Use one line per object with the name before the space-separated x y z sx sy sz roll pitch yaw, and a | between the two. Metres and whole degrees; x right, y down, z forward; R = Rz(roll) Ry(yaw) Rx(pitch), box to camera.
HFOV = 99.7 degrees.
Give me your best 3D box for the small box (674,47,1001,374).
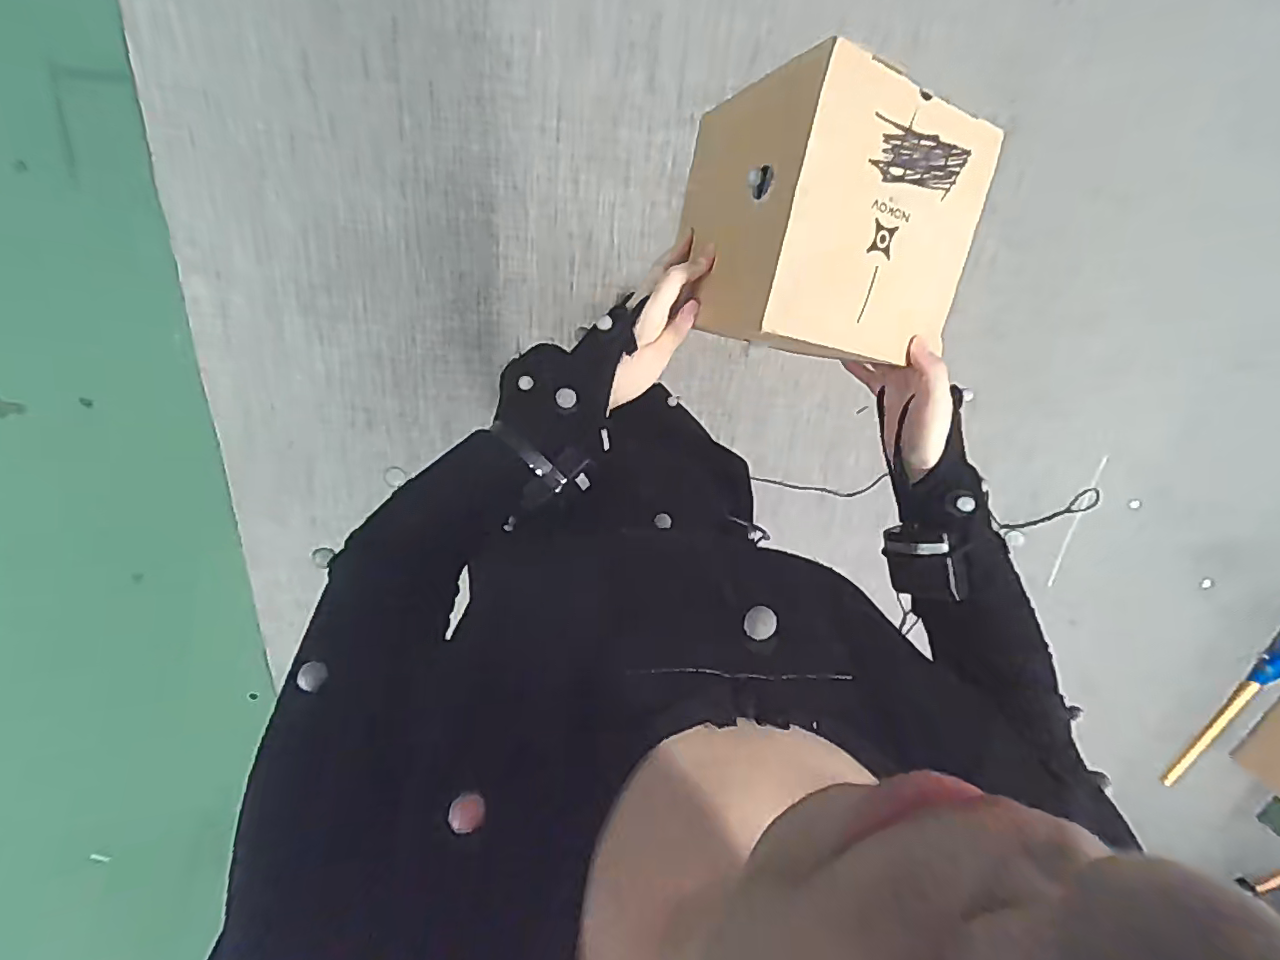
small box | 0.145 -0.198 0.451 0.168 0.176 0.179 6 105 -25
